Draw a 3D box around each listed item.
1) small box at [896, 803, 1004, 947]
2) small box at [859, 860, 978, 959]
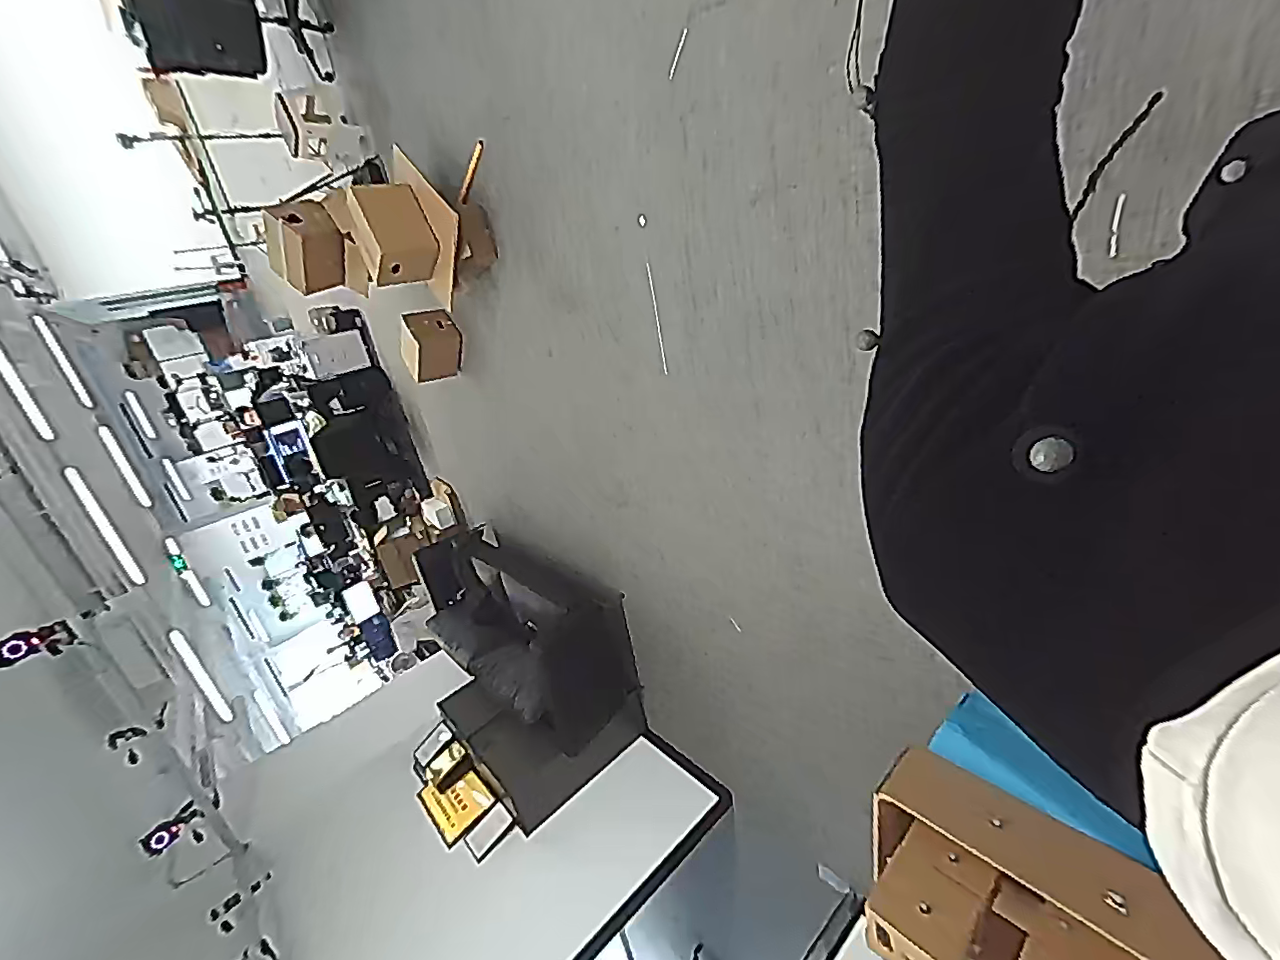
[{"bbox_3d":[0.716,0.904,1.255,0.179,0.176,0.168,18,127,46],"label":"small box"},{"bbox_3d":[0.596,0.970,1.166,0.179,0.176,0.168,16,126,46],"label":"small box"}]
